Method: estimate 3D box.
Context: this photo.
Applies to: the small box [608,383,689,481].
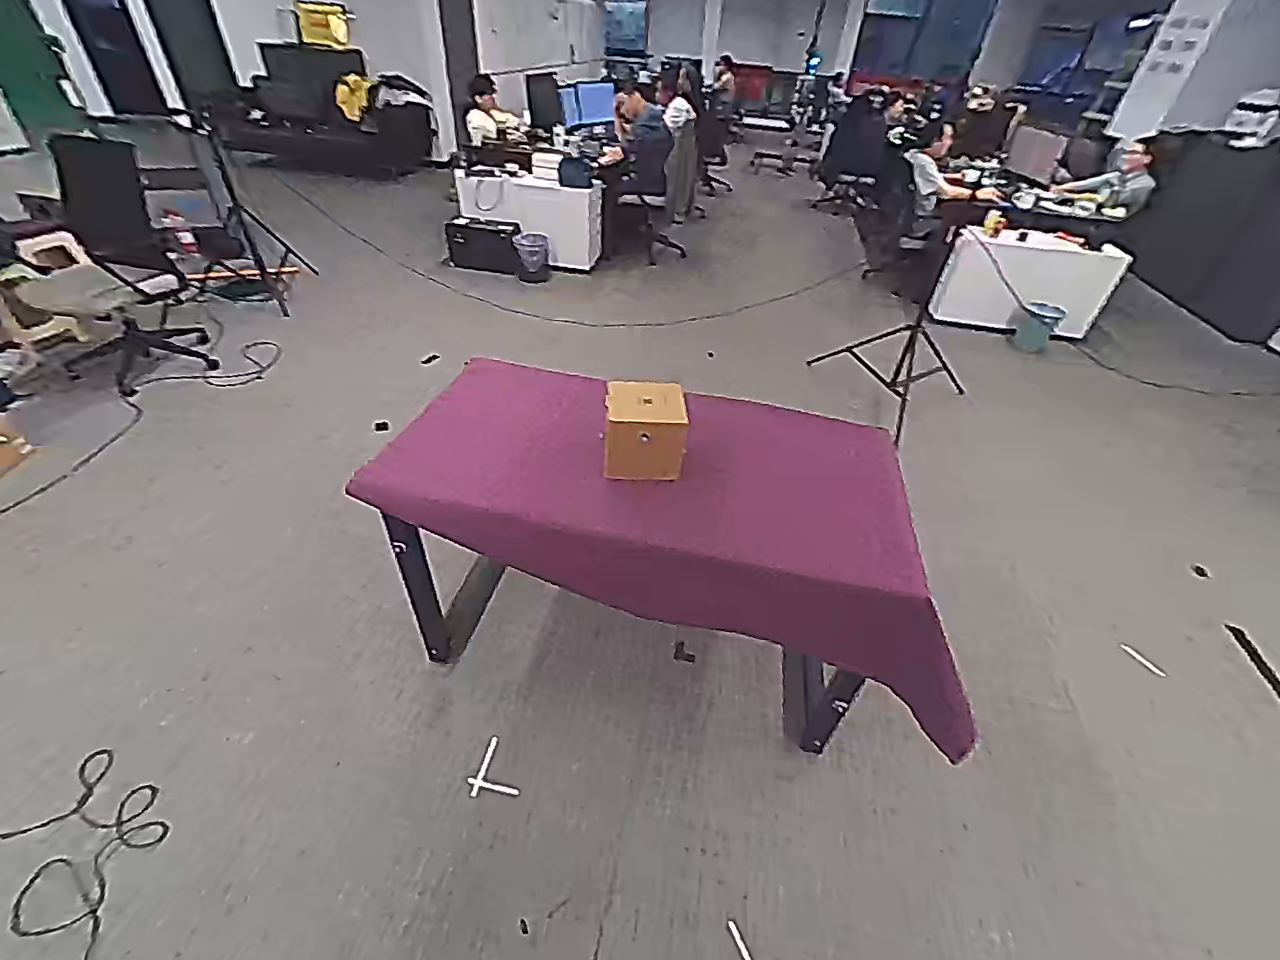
[{"bbox_3d":[0.013,-0.111,1.267,0.179,0.176,0.168,1,41,-4],"label":"small box"}]
